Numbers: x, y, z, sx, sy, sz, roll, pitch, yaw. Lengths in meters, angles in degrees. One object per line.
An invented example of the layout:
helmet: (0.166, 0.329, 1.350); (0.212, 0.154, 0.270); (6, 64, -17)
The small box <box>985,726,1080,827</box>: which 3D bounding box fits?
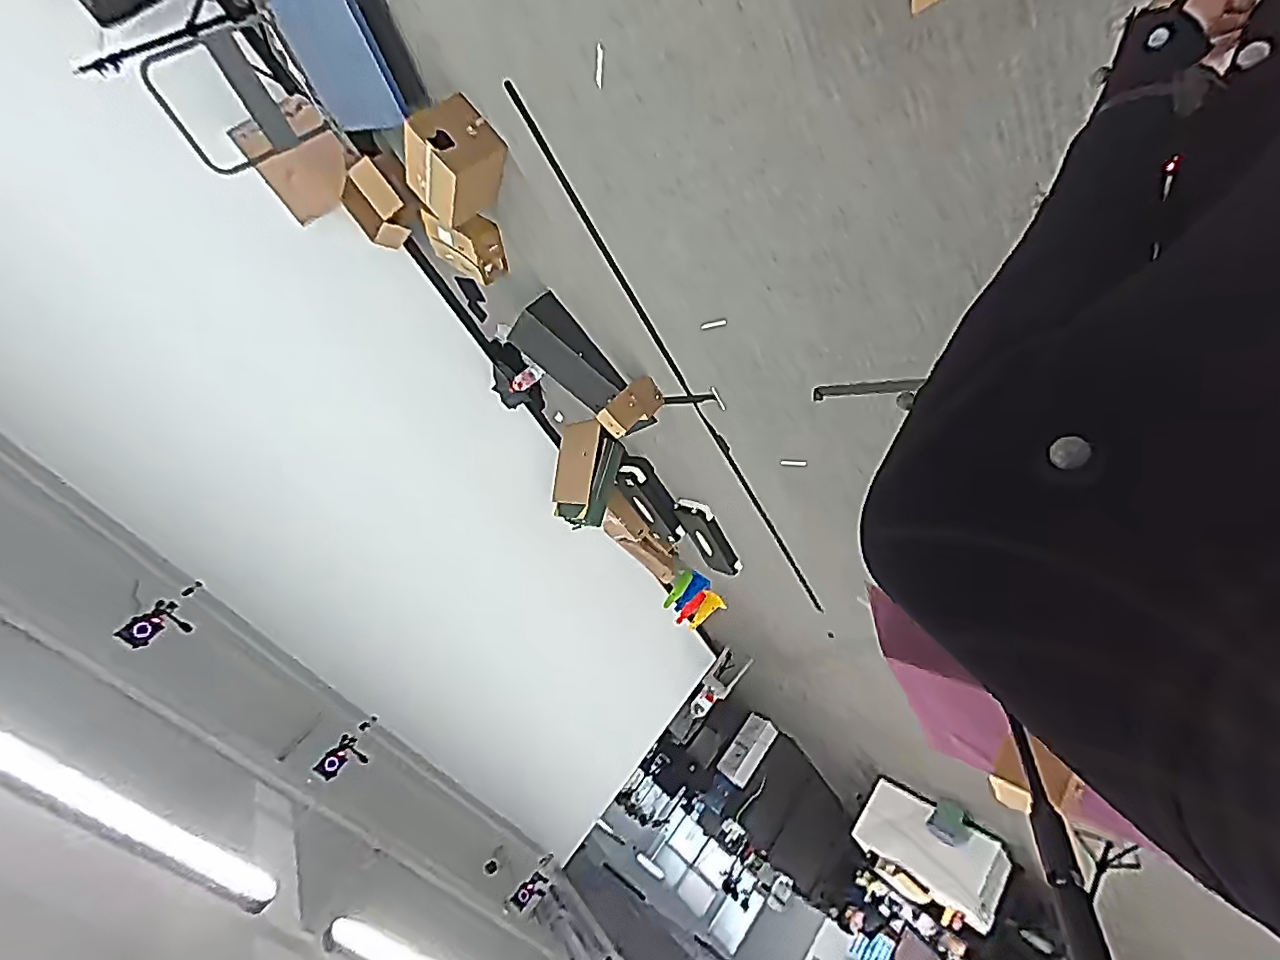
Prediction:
small box: (1.150, 0.856, 1.584); (0.179, 0.176, 0.168); (10, 141, 52)
